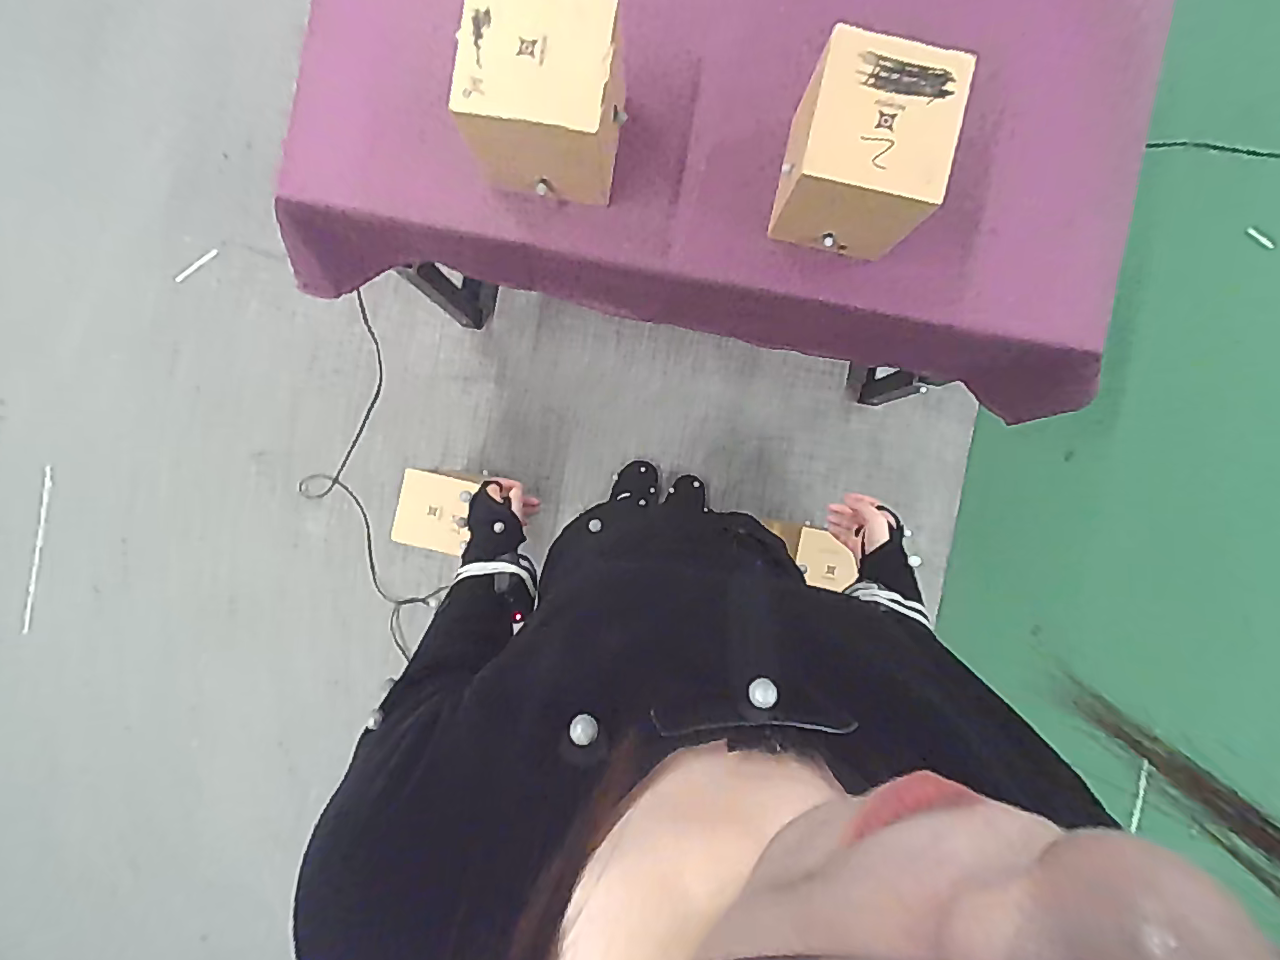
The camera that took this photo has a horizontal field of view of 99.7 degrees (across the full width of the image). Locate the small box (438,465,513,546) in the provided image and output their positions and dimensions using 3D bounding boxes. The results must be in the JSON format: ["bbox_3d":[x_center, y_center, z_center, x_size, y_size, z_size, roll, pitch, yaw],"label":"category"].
[{"bbox_3d":[-0.445,0.063,1.429,0.168,0.176,0.179,12,90,-1],"label":"small box"}]

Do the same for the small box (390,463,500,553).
[{"bbox_3d":[-0.447,0.062,1.264,0.179,0.176,0.168,13,91,-1],"label":"small box"}]

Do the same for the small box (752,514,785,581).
[{"bbox_3d":[0.405,0.184,1.435,0.179,0.176,0.168,9,91,-1],"label":"small box"}]

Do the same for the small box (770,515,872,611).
[{"bbox_3d":[0.415,0.188,1.272,0.168,0.176,0.179,11,91,-2],"label":"small box"}]

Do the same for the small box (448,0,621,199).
[{"bbox_3d":[-0.121,-0.488,0.691,0.179,0.176,0.168,9,90,-1],"label":"small box"}]
